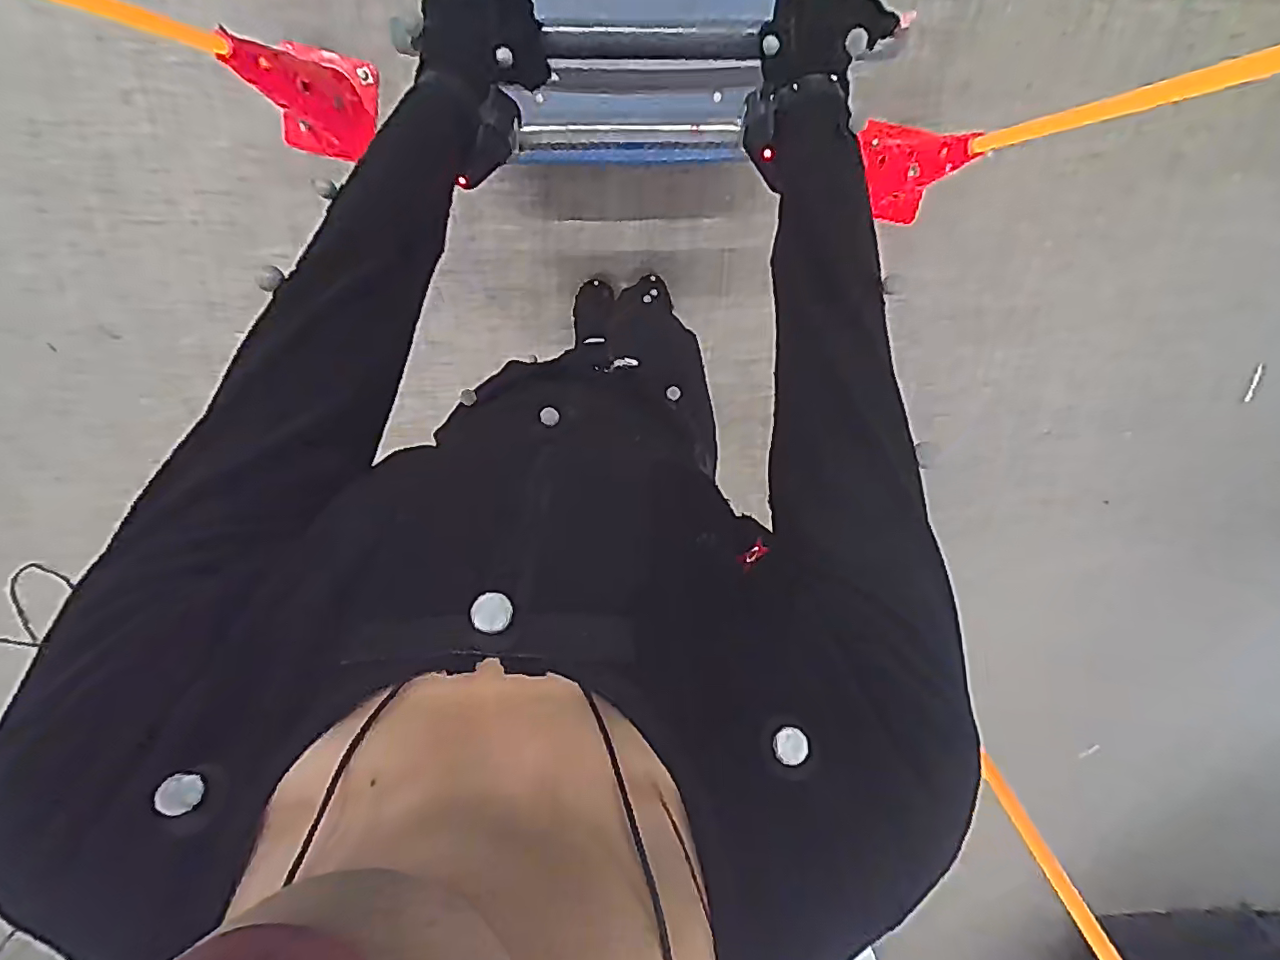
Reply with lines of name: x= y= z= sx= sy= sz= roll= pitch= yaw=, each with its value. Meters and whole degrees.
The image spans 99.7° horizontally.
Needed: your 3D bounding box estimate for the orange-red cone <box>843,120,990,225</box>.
orange-red cone: x=0.605 y=-0.667 z=1.131 sx=0.198 sy=0.360 sz=0.199 roll=9 pitch=112 yaw=-6
